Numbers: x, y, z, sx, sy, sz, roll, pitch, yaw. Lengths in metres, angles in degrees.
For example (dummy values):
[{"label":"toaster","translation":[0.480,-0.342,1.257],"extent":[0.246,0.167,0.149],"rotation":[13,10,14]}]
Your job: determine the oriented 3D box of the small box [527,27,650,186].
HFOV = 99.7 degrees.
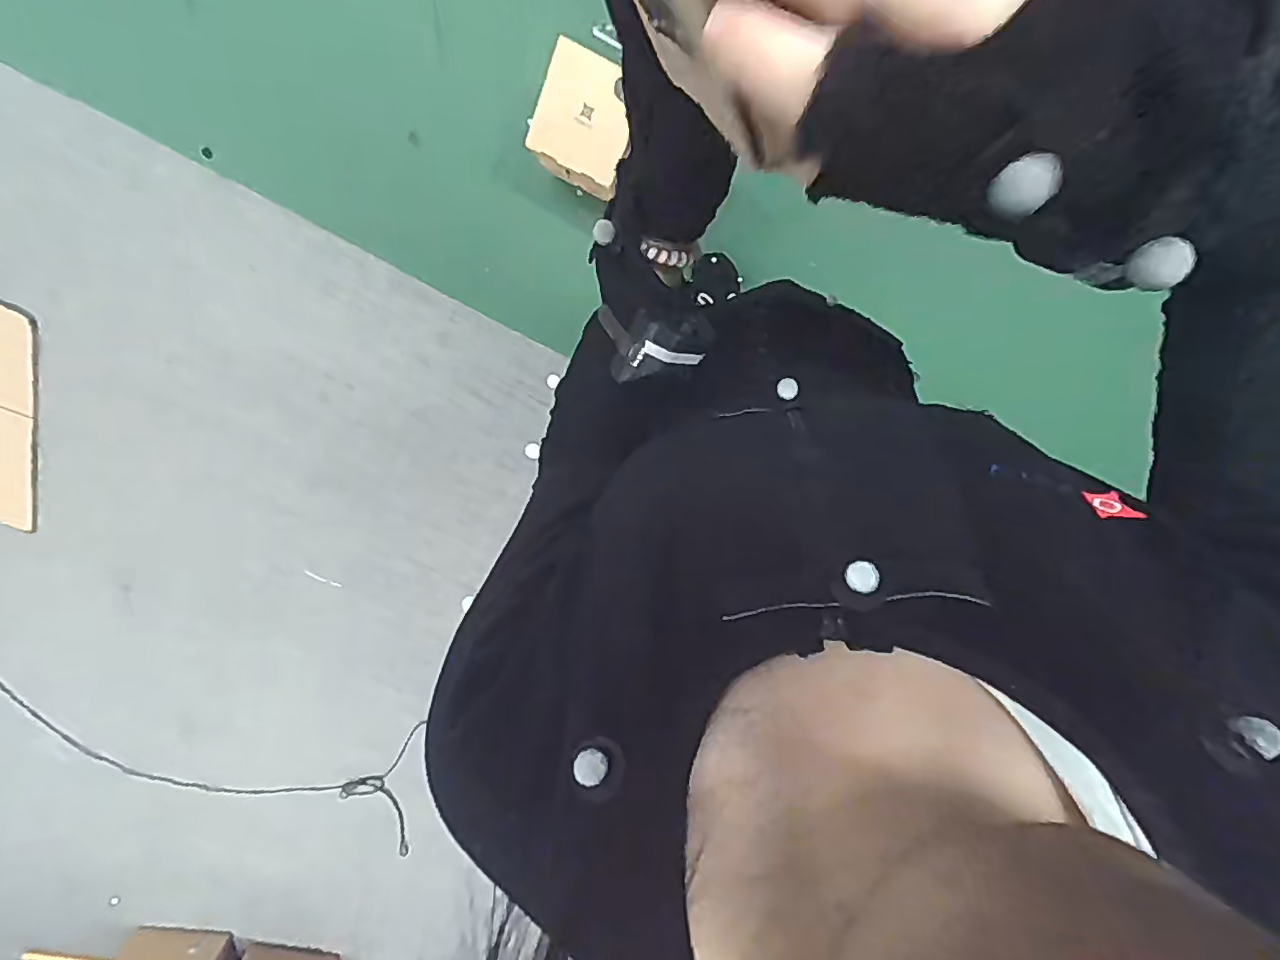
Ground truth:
[{"label":"small box","translation":[-0.093,-0.672,1.000],"extent":[0.168,0.176,0.179],"rotation":[22,113,-10]}]
